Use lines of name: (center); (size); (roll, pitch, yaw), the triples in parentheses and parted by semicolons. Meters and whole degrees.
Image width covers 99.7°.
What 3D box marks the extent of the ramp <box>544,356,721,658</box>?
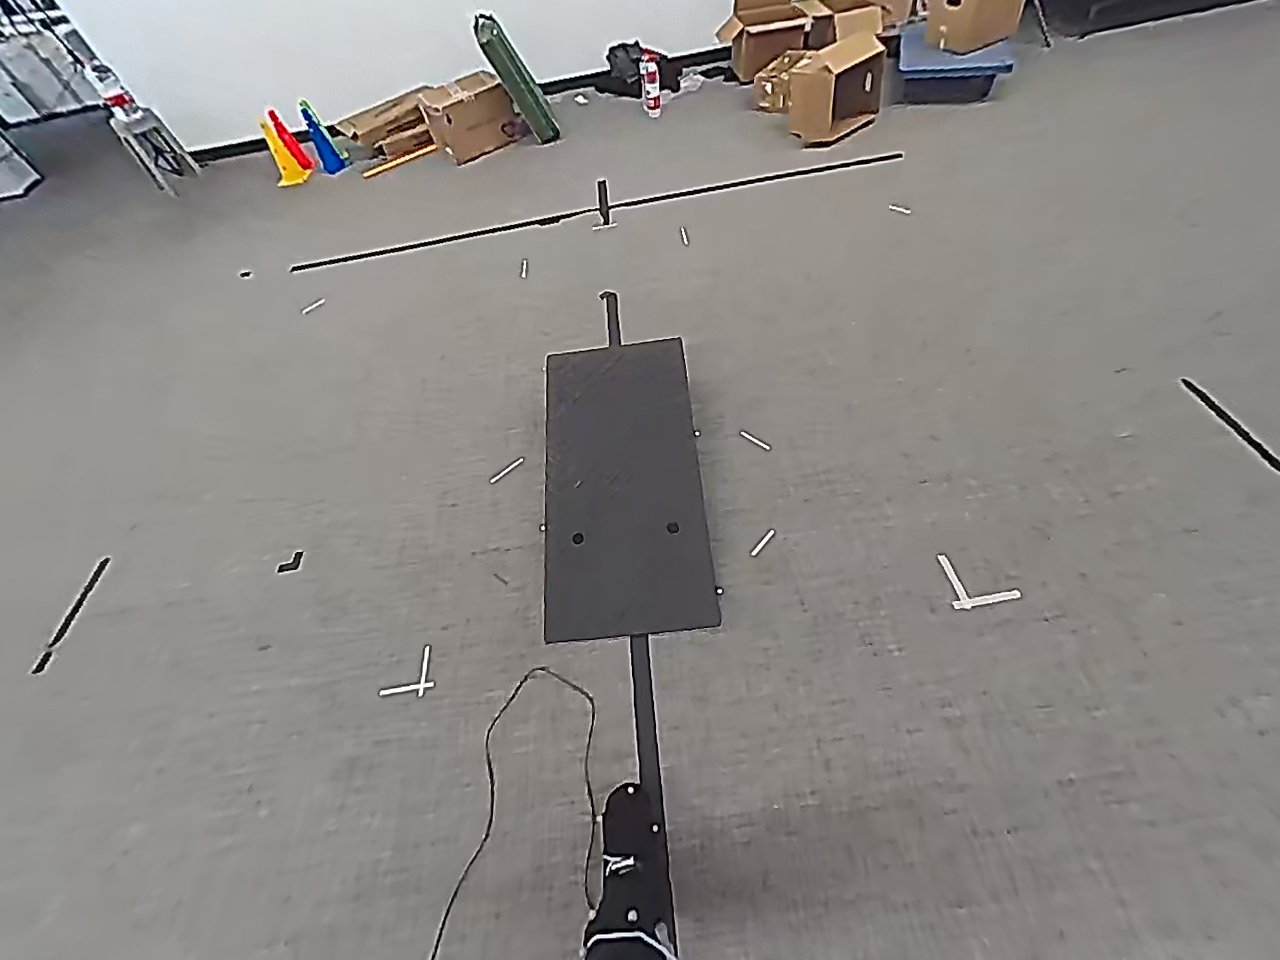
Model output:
ramp: (-0.060, 0.027, 1.719); (0.509, 0.206, 0.991); (-9, 51, 2)
